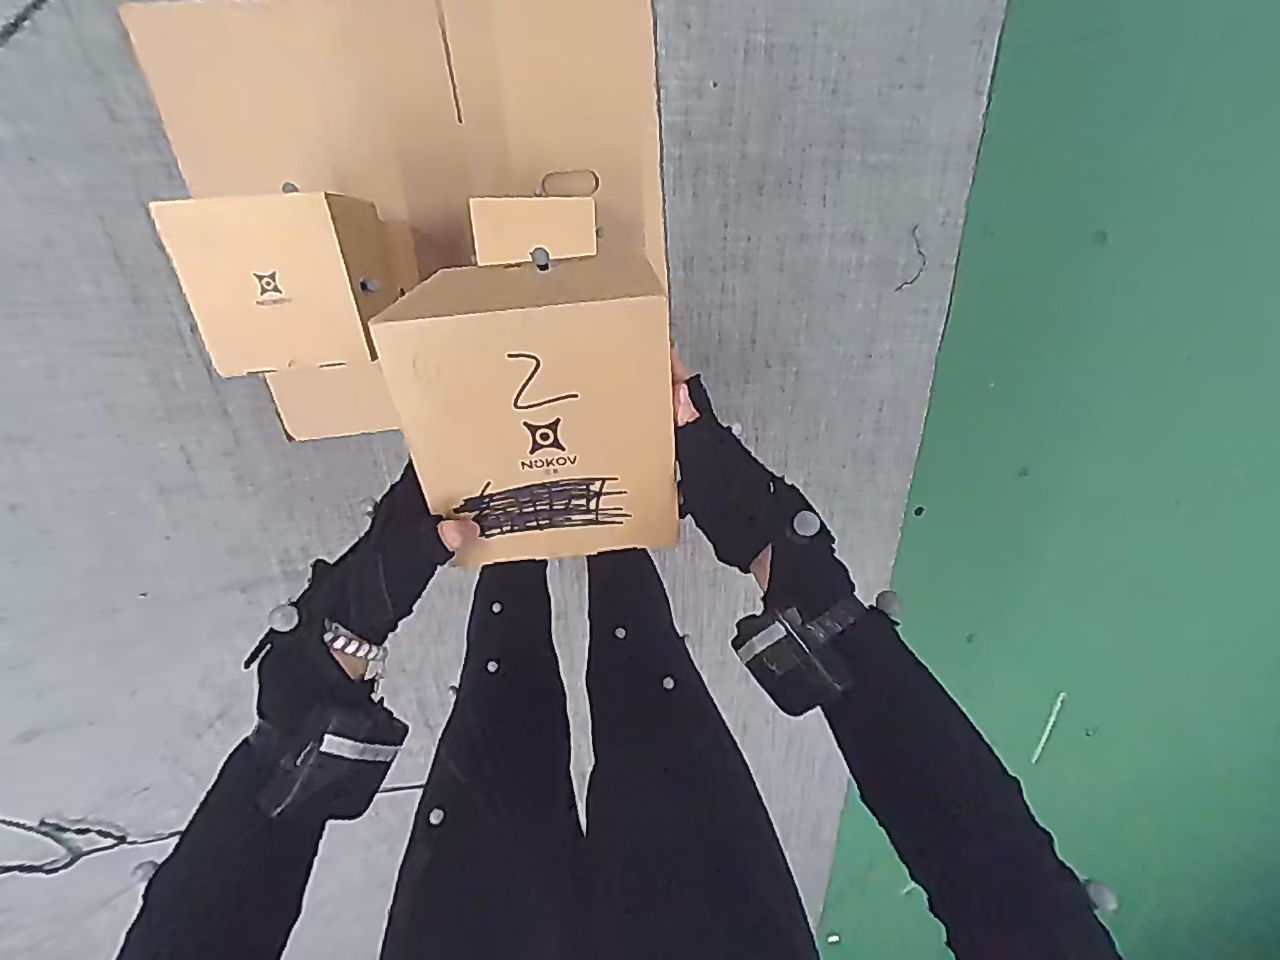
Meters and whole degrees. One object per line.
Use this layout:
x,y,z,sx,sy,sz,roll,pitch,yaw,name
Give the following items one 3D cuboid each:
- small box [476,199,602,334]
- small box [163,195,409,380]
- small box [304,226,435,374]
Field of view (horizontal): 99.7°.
-0.147,-0.326,0.823,0.168,0.176,0.179,-3,116,-7,small box
-0.394,-0.230,0.643,0.168,0.176,0.179,-8,116,-6,small box
-0.420,-0.273,0.801,0.168,0.176,0.179,-10,116,-5,small box
